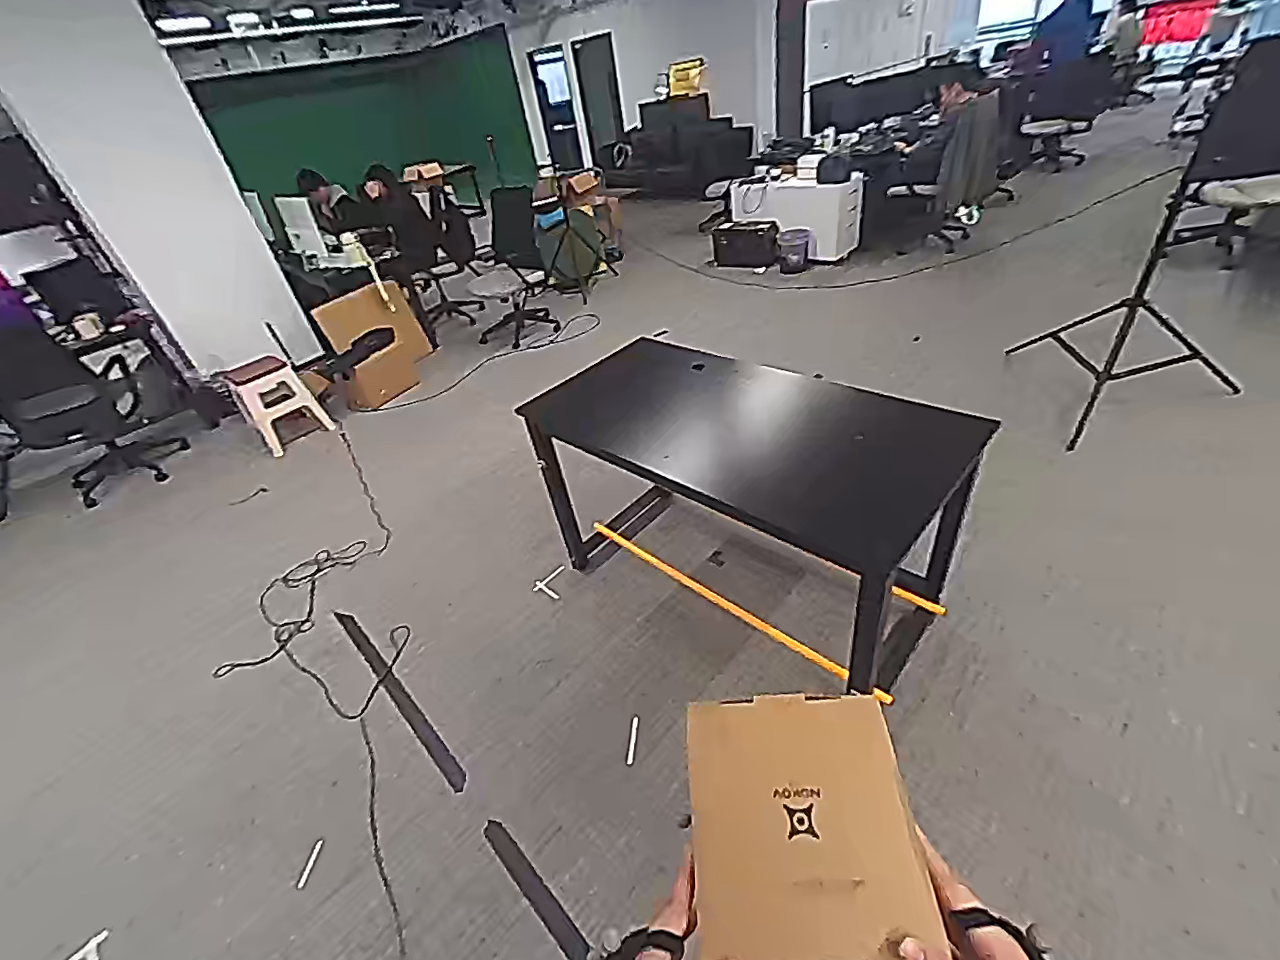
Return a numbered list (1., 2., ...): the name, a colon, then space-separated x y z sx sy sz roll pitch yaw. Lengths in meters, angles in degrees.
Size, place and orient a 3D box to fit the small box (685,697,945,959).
1. small box: 0.126 0.308 0.470 0.168 0.176 0.179 -4 49 5
